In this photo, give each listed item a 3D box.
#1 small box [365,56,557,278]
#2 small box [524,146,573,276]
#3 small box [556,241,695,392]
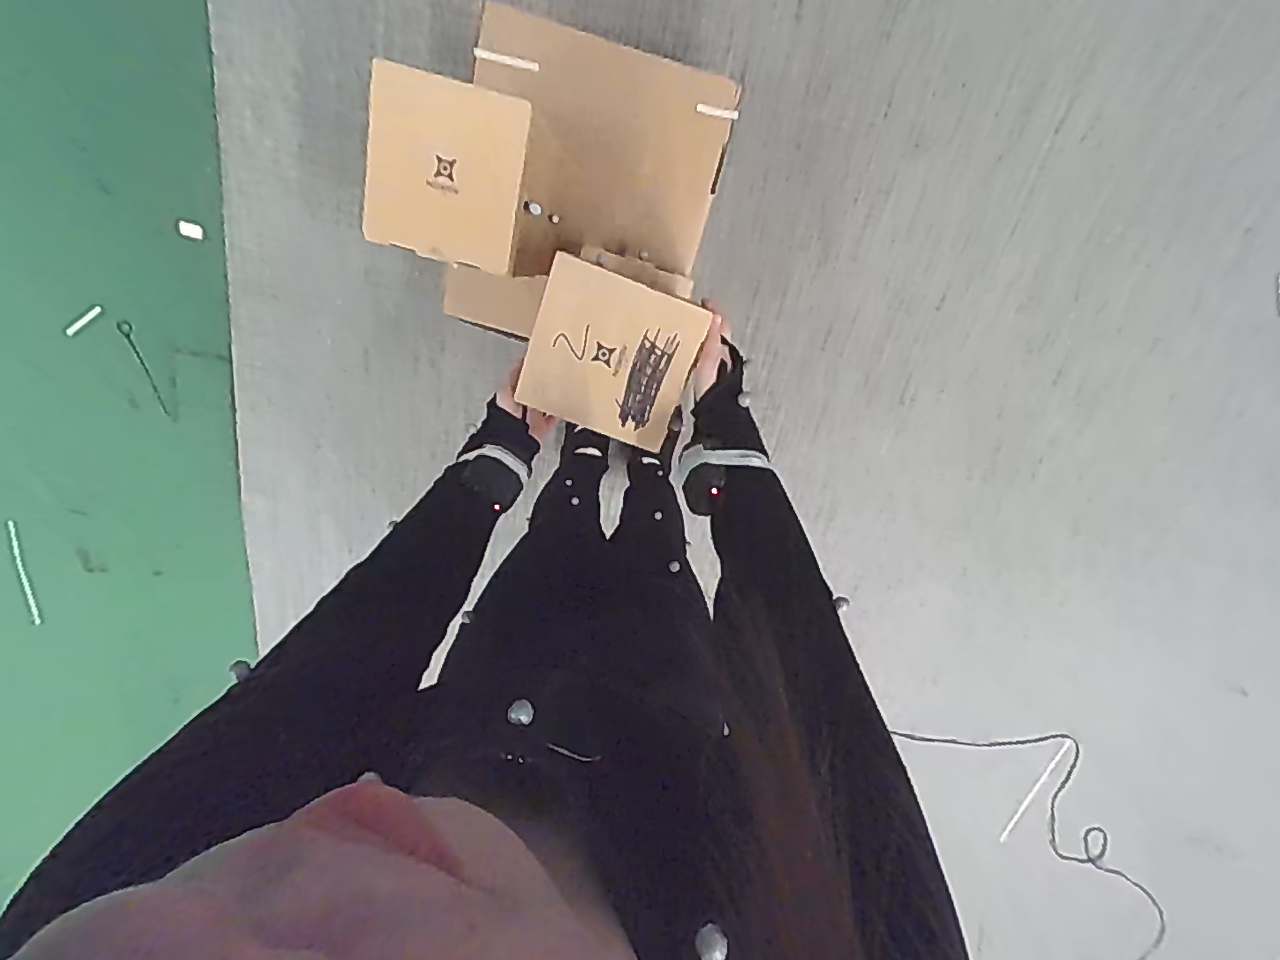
[{"bbox_3d":[-0.204,-0.359,0.653,0.168,0.176,0.179,15,112,-4],"label":"small box"},{"bbox_3d":[-0.205,-0.416,0.807,0.168,0.176,0.179,15,110,-4],"label":"small box"},{"bbox_3d":[-0.024,-0.260,0.859,0.168,0.176,0.179,17,110,-5],"label":"small box"}]
